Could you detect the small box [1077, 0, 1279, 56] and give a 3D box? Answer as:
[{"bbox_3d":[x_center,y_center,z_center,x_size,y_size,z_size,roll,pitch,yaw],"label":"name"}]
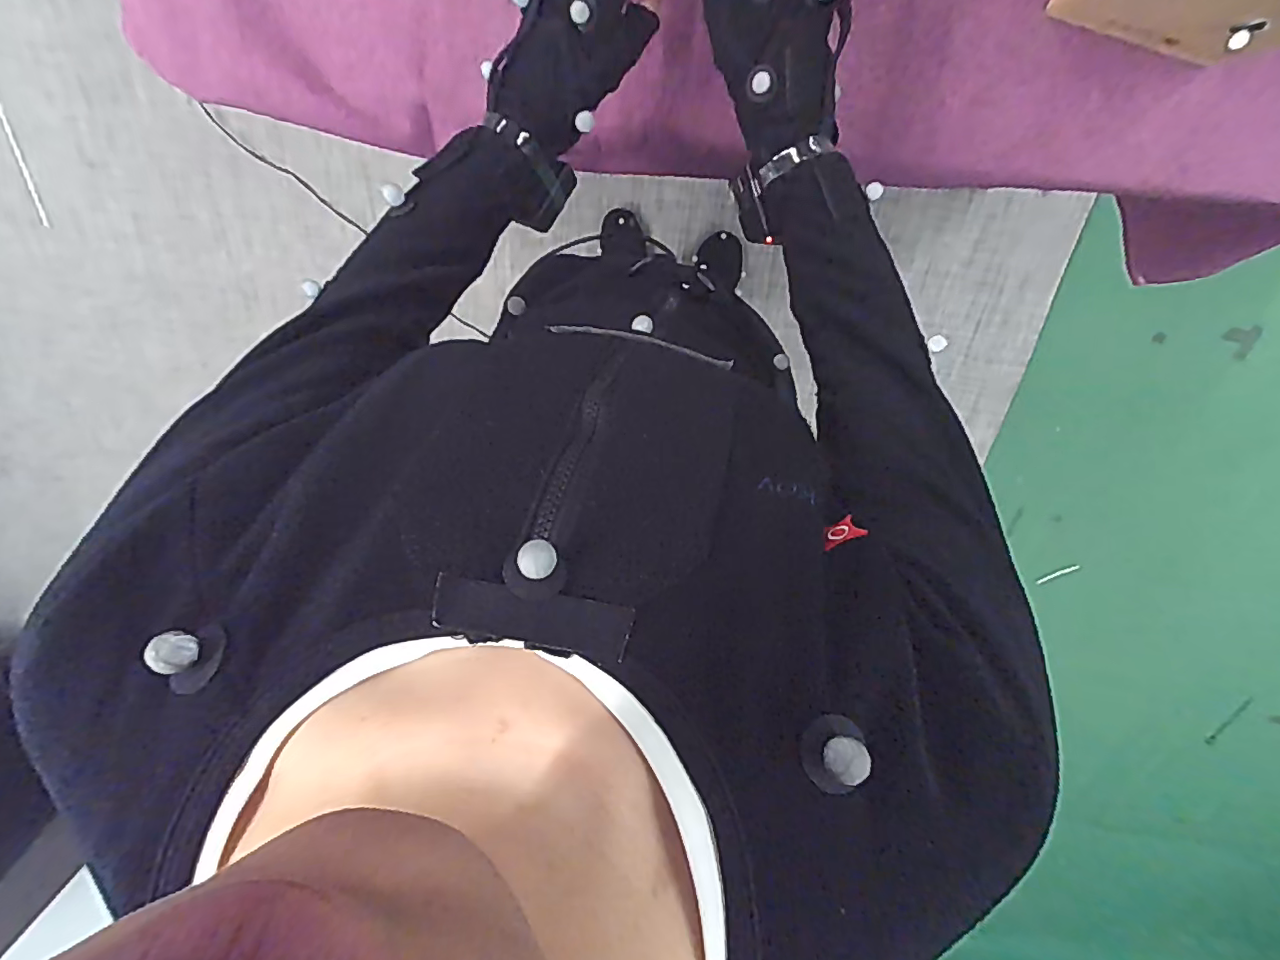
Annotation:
[{"bbox_3d":[0.461,-0.438,0.381,0.168,0.176,0.179,16,118,-3],"label":"small box"}]
